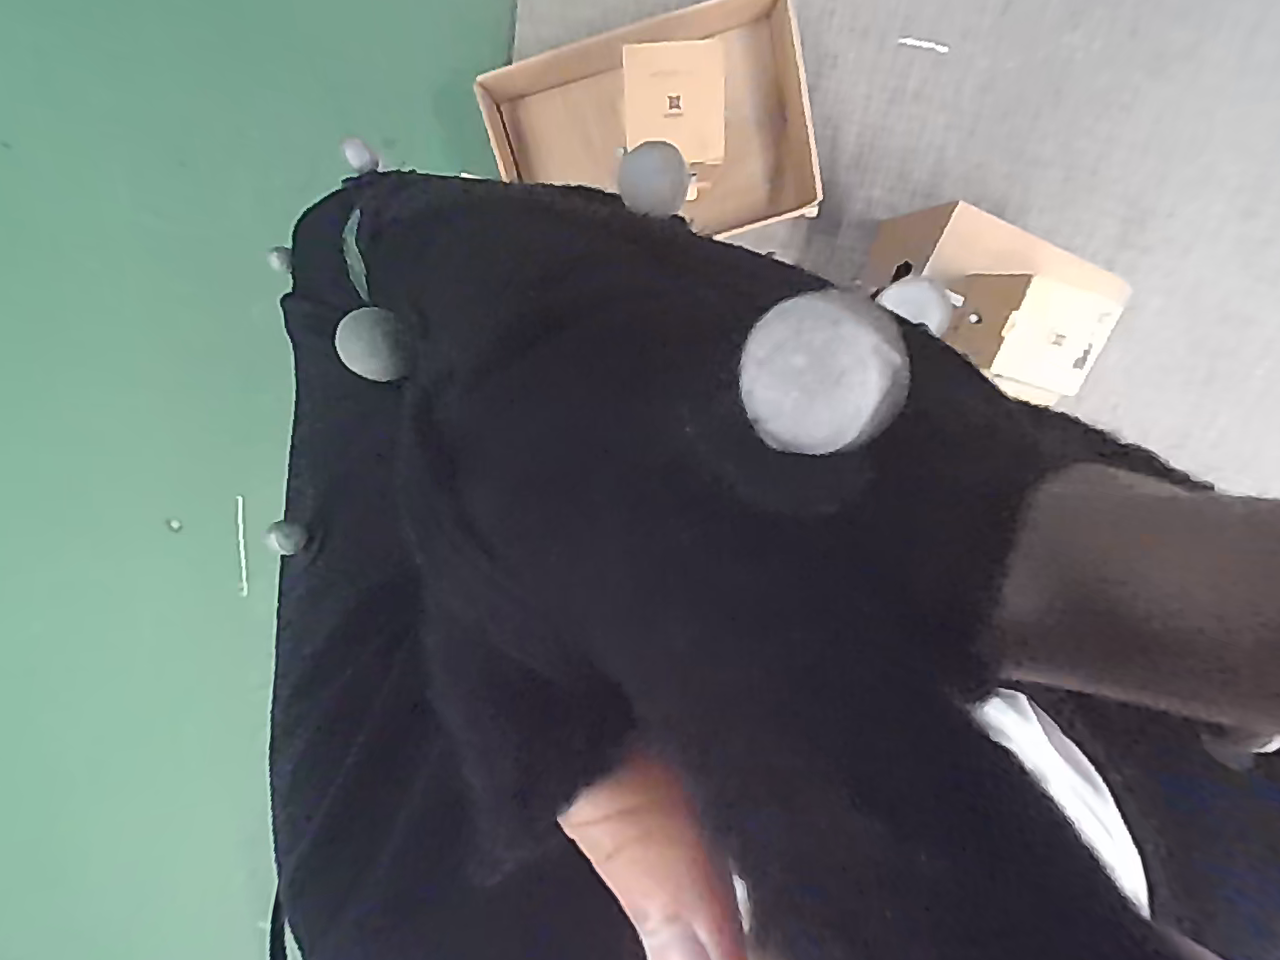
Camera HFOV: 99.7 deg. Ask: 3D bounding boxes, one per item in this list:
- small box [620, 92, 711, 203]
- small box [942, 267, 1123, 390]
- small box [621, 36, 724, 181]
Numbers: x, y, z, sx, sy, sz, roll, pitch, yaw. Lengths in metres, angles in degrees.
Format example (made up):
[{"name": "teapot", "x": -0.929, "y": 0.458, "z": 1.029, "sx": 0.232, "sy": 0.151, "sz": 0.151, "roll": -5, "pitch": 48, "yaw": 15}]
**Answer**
[{"name": "small box", "x": 0.053, "y": -0.684, "z": 1.117, "sx": 0.168, "sy": 0.176, "sz": 0.179, "roll": -7, "pitch": 108, "yaw": 3}, {"name": "small box", "x": 0.703, "y": -0.281, "z": 0.995, "sx": 0.179, "sy": 0.176, "sz": 0.168, "roll": 15, "pitch": 110, "yaw": -6}, {"name": "small box", "x": 0.056, "y": -0.644, "z": 0.960, "sx": 0.168, "sy": 0.176, "sz": 0.179, "roll": -4, "pitch": 108, "yaw": 1}]
